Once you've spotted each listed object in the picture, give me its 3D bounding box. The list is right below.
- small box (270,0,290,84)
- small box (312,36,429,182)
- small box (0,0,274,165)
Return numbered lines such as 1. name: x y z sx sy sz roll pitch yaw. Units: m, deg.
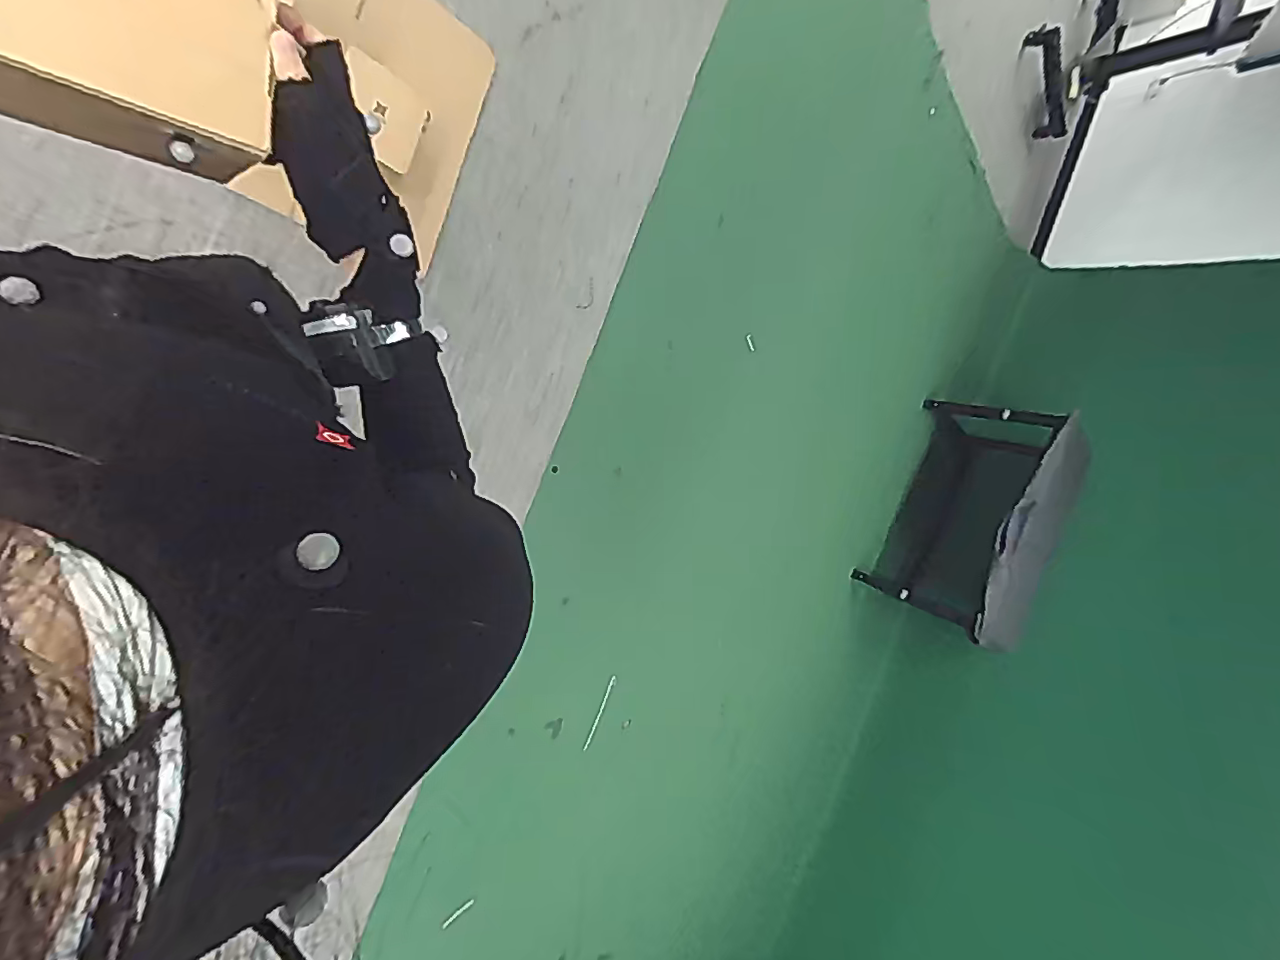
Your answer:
1. small box: -0.759 -0.823 0.983 0.168 0.176 0.179 13 95 -41
2. small box: -0.579 -0.774 1.152 0.168 0.176 0.179 18 92 -40
3. small box: -0.331 -0.305 0.311 0.179 0.176 0.168 -1 106 -46
